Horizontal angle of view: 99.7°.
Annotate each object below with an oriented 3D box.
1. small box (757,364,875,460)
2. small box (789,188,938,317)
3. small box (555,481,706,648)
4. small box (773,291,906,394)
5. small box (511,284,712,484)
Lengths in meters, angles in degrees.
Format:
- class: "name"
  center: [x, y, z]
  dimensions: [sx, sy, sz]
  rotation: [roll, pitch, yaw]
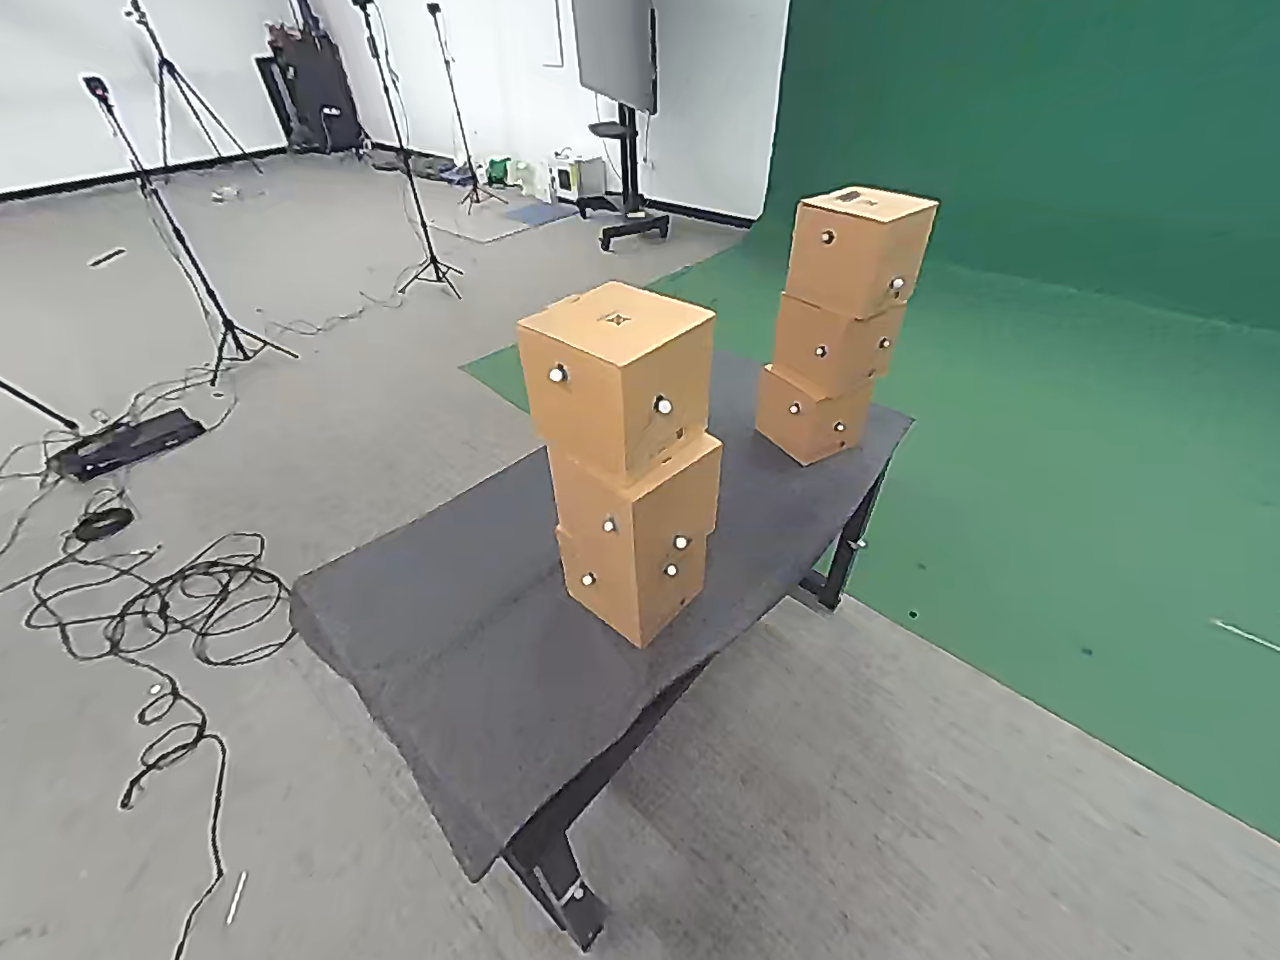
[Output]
- class: "small box"
  center: [0.379, -0.162, 1.192]
  dimensions: [0.168, 0.176, 0.179]
  rotation: [-20, 42, -20]
- class: "small box"
  center: [0.394, -0.416, 0.986]
  dimensions: [0.168, 0.176, 0.179]
  rotation: [-29, 47, -28]
- class: "small box"
  center: [-0.012, 0.137, 0.879]
  dimensions: [0.179, 0.176, 0.168]
  rotation: [28, 50, 32]
- class: "small box"
  center: [0.392, -0.290, 1.091]
  dimensions: [0.168, 0.176, 0.179]
  rotation: [-24, 43, -24]
- class: "small box"
  center: [-0.029, -0.118, 0.673]
  dimensions: [0.179, 0.176, 0.168]
  rotation: [29, 50, 32]
